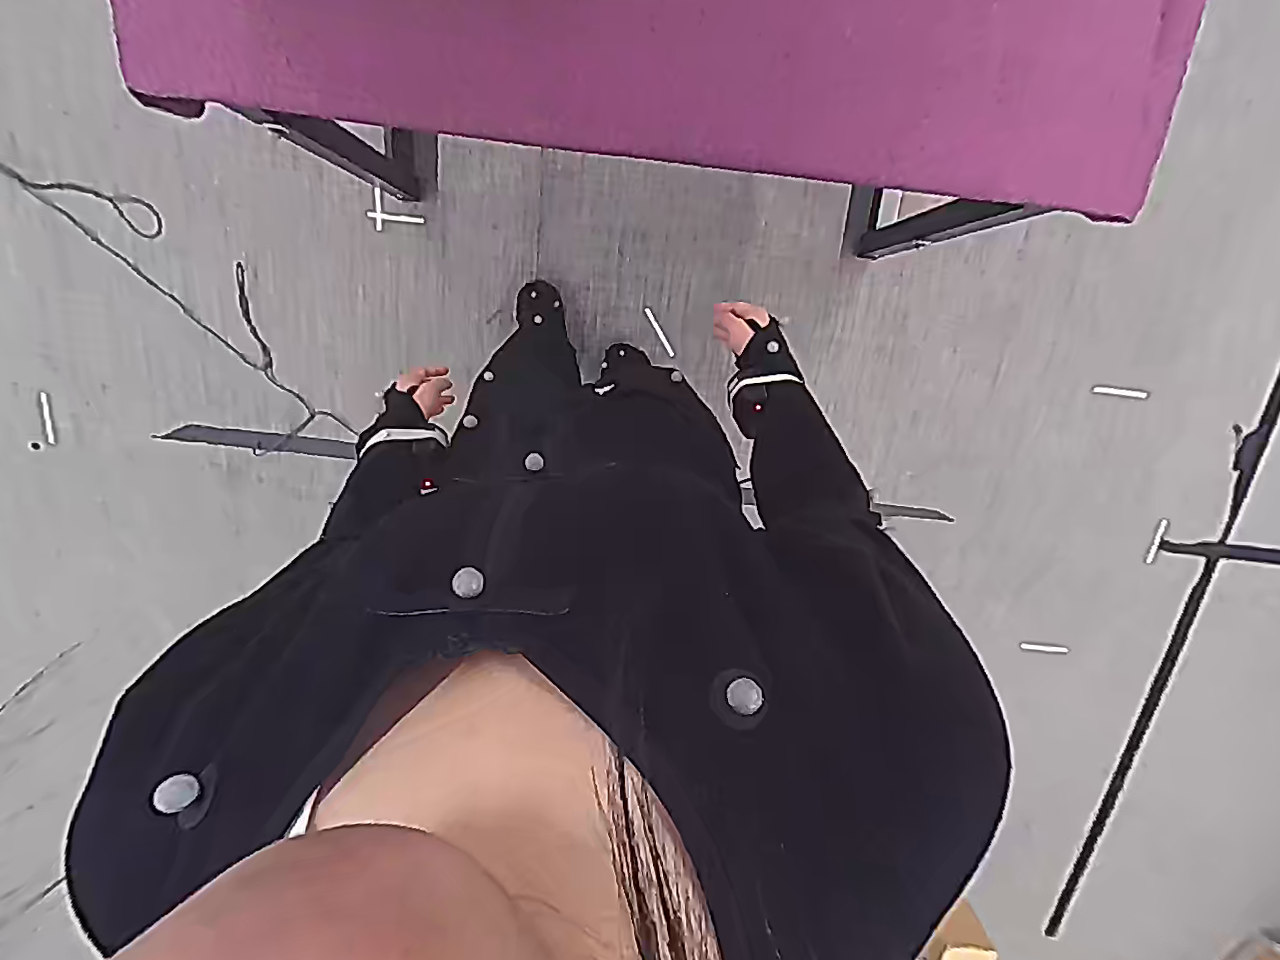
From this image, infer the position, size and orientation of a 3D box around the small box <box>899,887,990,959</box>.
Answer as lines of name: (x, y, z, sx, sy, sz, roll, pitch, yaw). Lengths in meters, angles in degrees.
small box: (0.954, 1.444, 1.713, 0.168, 0.176, 0.179, 9, 105, -5)
